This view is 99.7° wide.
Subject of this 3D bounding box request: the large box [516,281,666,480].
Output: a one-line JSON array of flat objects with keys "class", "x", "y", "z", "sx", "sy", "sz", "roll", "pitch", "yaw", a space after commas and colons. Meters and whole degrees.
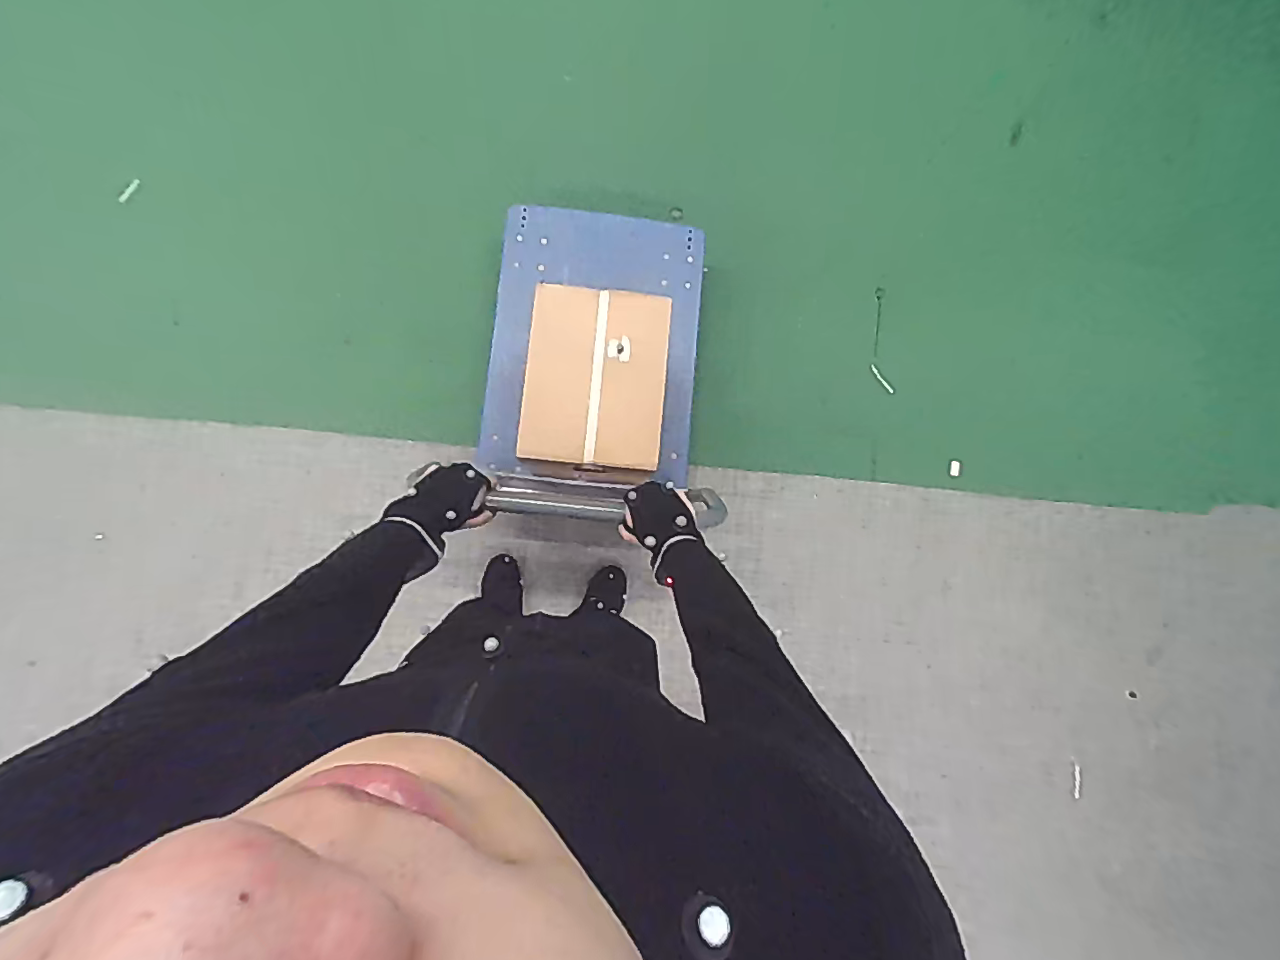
[{"class": "large box", "x": -0.116, "y": -0.223, "z": 1.351, "sx": 0.320, "sy": 0.320, "sz": 0.408, "roll": 5, "pitch": 83, "yaw": -5}]
